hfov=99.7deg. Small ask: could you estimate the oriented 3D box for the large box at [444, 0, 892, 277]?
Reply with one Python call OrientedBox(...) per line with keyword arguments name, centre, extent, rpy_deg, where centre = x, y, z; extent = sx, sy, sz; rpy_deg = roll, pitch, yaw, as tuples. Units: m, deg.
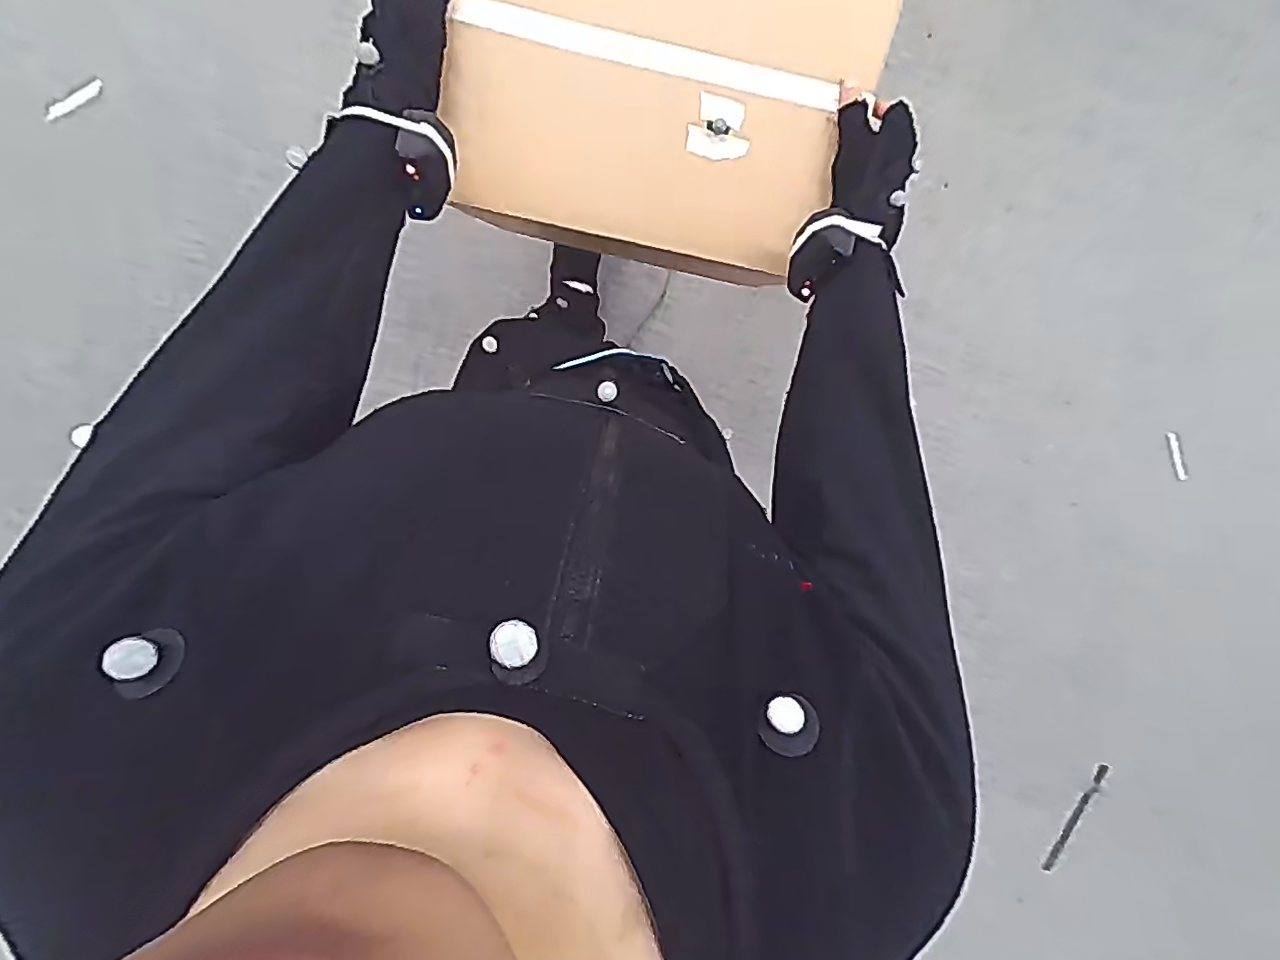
OrientedBox(name="large box", centre=(0.018, -0.446, 0.652), extent=(0.408, 0.320, 0.320), rpy_deg=(10, 110, -5))
